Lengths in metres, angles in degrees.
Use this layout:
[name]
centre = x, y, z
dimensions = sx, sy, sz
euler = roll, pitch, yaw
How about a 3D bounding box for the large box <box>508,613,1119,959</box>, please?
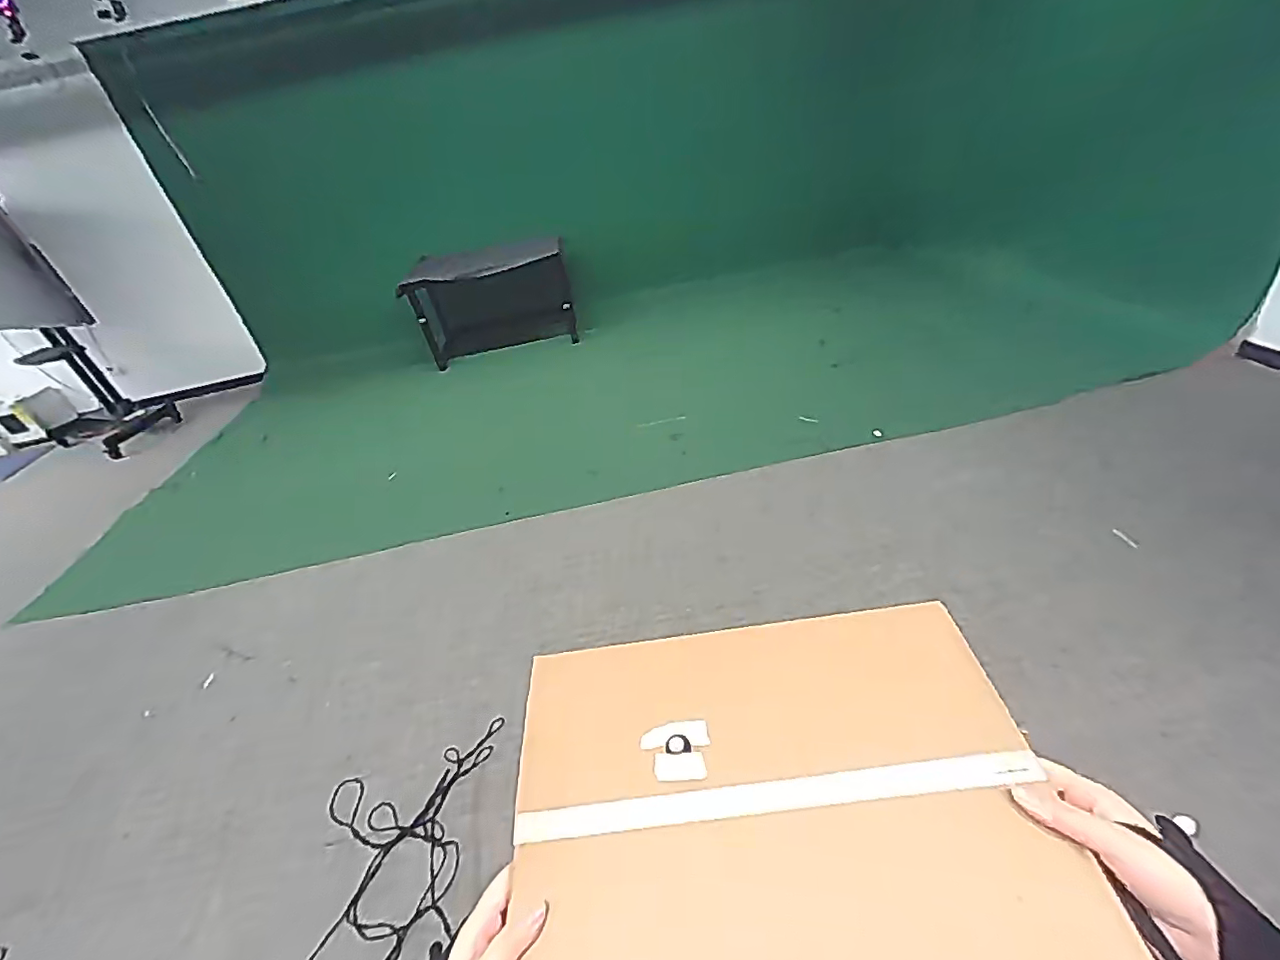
[large box]
centre = 0.125, 0.372, 0.522
dimensions = 0.408, 0.320, 0.320
euler = -10, 40, 5
